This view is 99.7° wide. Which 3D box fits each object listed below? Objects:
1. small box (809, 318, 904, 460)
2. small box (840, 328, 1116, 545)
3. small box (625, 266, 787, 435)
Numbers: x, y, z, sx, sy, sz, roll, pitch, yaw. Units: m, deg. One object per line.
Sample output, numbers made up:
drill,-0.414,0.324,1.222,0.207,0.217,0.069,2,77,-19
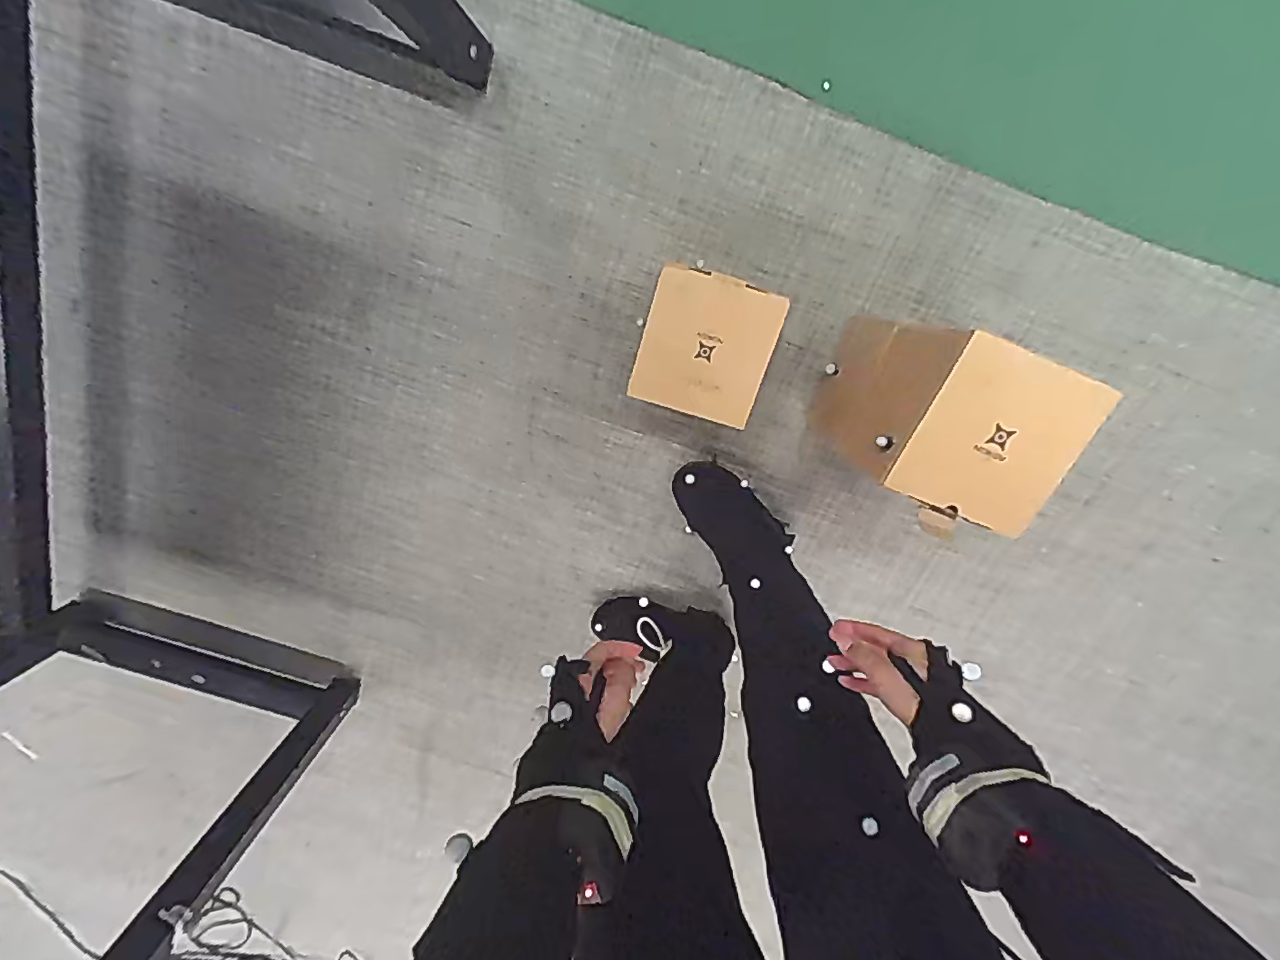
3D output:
small box,0.360,-0.114,0.768,0.168,0.176,0.179,20,111,-5
small box,0.356,-0.061,0.614,0.168,0.176,0.179,22,109,-5
small box,0.083,-0.186,0.758,0.168,0.176,0.179,16,110,-2
